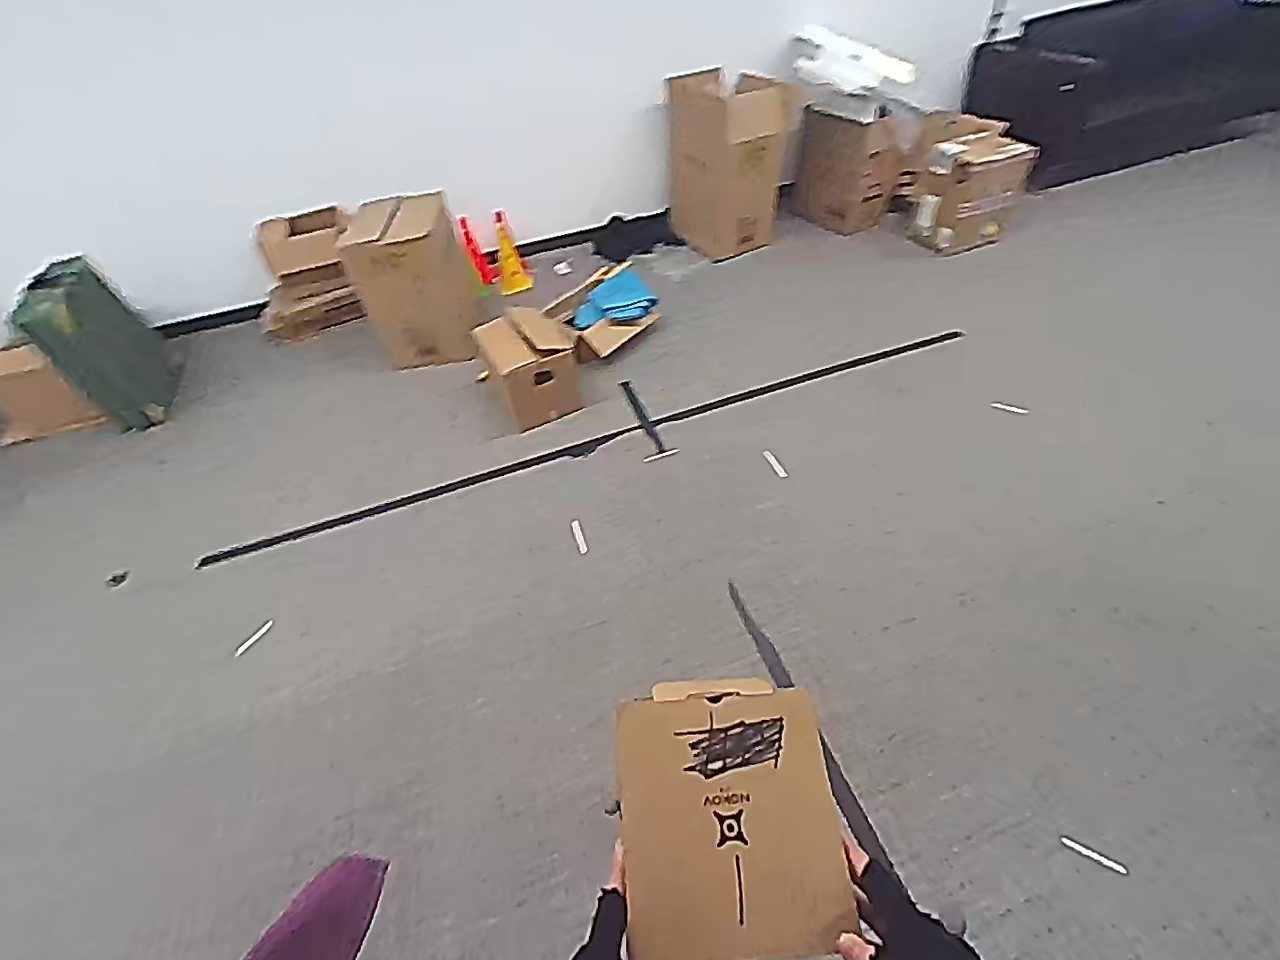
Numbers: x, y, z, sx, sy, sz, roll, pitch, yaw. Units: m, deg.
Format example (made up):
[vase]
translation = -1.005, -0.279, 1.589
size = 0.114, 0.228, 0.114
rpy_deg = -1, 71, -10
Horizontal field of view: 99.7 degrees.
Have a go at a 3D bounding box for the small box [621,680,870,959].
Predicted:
[small box]
translation = 0.070, 0.290, 0.480
size = 0.168, 0.176, 0.179
rpy_deg = -2, 58, -4
